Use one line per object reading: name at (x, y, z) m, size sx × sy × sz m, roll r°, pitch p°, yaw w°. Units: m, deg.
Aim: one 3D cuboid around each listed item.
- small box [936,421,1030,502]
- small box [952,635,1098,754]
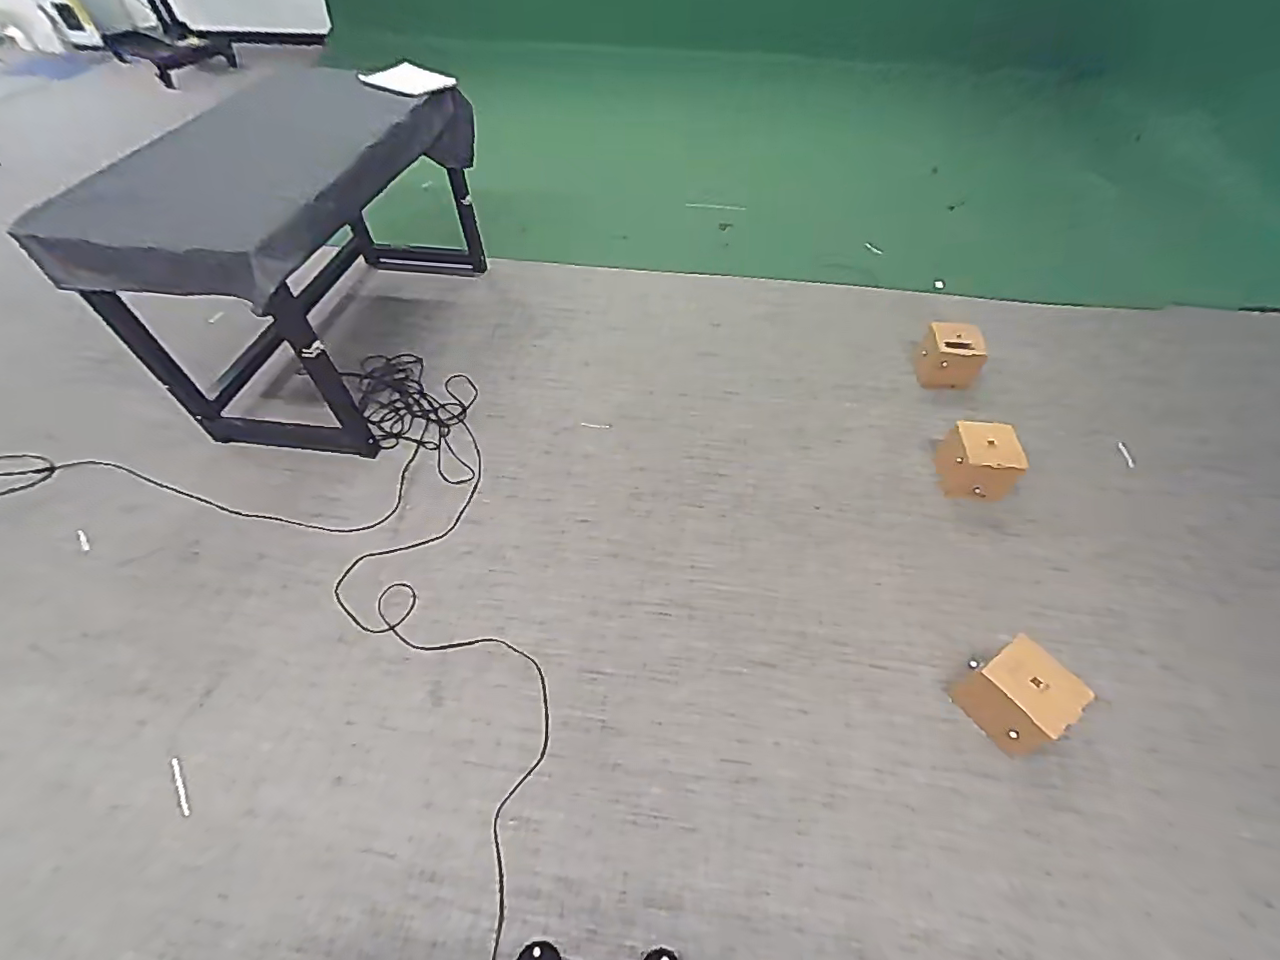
small box at (1.036, -0.056, 1.651) m, size 0.168 × 0.176 × 0.179 m, roll 5°, pitch 53°, yaw 4°
small box at (0.859, 0.491, 1.223) m, size 0.168 × 0.176 × 0.179 m, roll -28°, pitch 56°, yaw -22°
